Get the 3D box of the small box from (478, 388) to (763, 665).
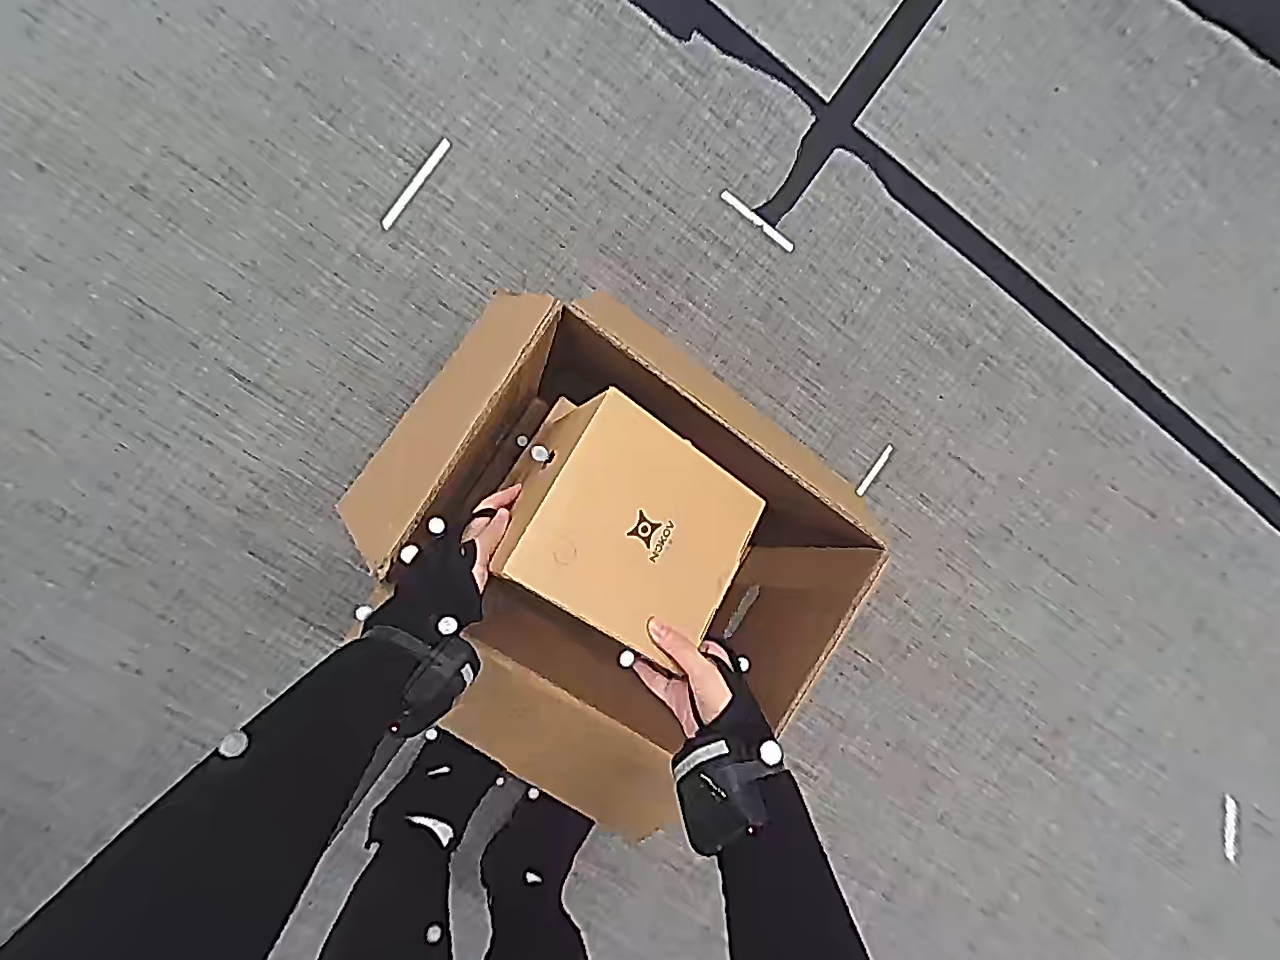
[{"bbox_3d":[-0.027,0.045,0.502,0.179,0.176,0.168,34,72,-21],"label":"small box"}]
